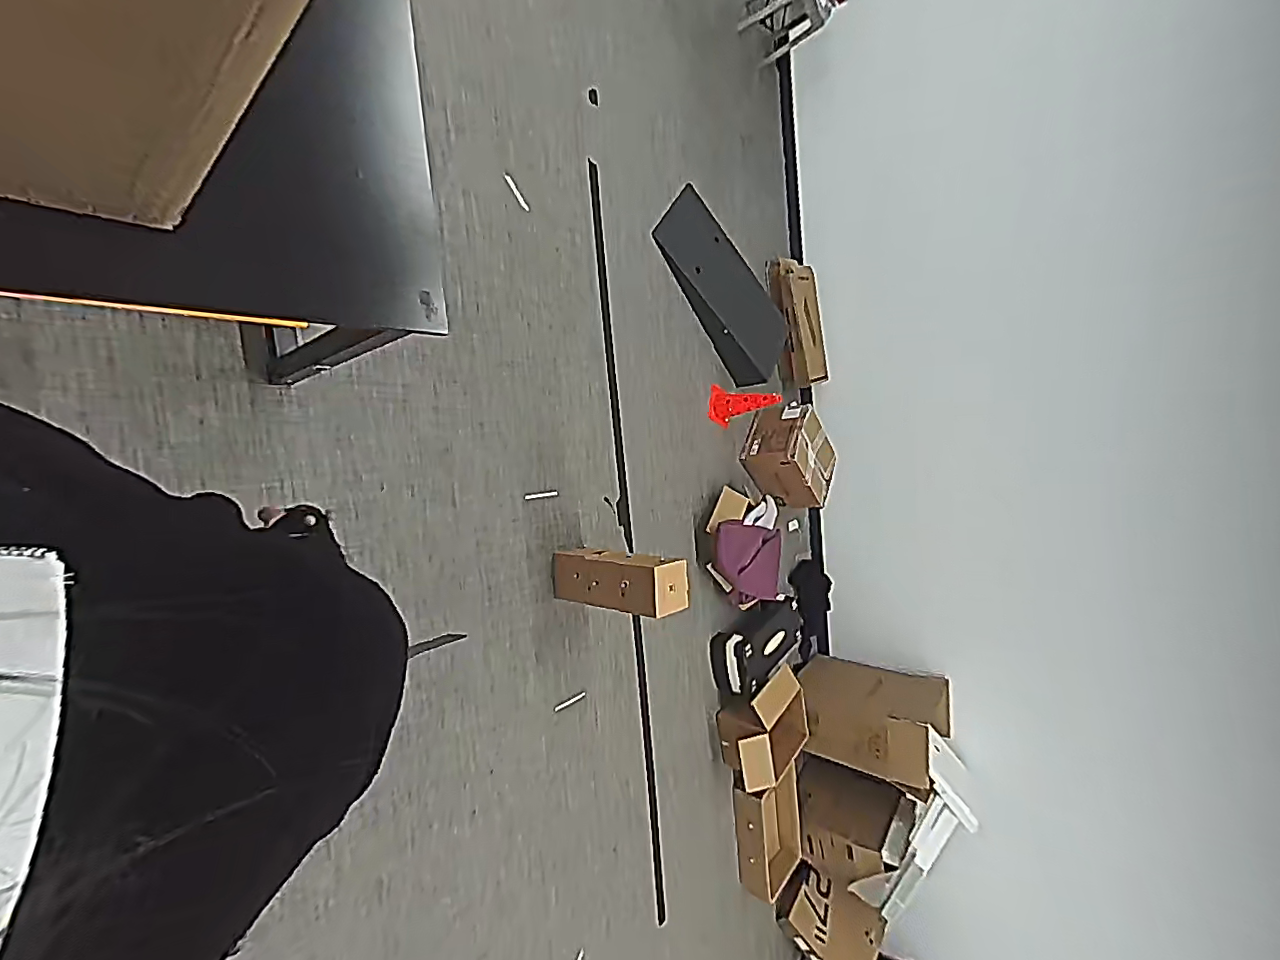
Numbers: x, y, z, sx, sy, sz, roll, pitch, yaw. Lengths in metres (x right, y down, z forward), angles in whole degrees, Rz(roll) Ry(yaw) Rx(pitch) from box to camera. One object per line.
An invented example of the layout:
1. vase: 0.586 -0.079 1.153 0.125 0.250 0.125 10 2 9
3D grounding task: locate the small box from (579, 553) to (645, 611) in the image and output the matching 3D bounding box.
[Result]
1. small box: -0.097 0.356 1.920 0.179 0.176 0.168 -3 91 -50

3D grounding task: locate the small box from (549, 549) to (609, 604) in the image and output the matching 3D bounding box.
1. small box: -0.227 0.352 2.021 0.168 0.176 0.179 -3 92 -50

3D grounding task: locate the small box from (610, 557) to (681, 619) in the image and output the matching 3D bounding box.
1. small box: 0.019 0.355 1.805 0.179 0.176 0.168 -3 91 -49
